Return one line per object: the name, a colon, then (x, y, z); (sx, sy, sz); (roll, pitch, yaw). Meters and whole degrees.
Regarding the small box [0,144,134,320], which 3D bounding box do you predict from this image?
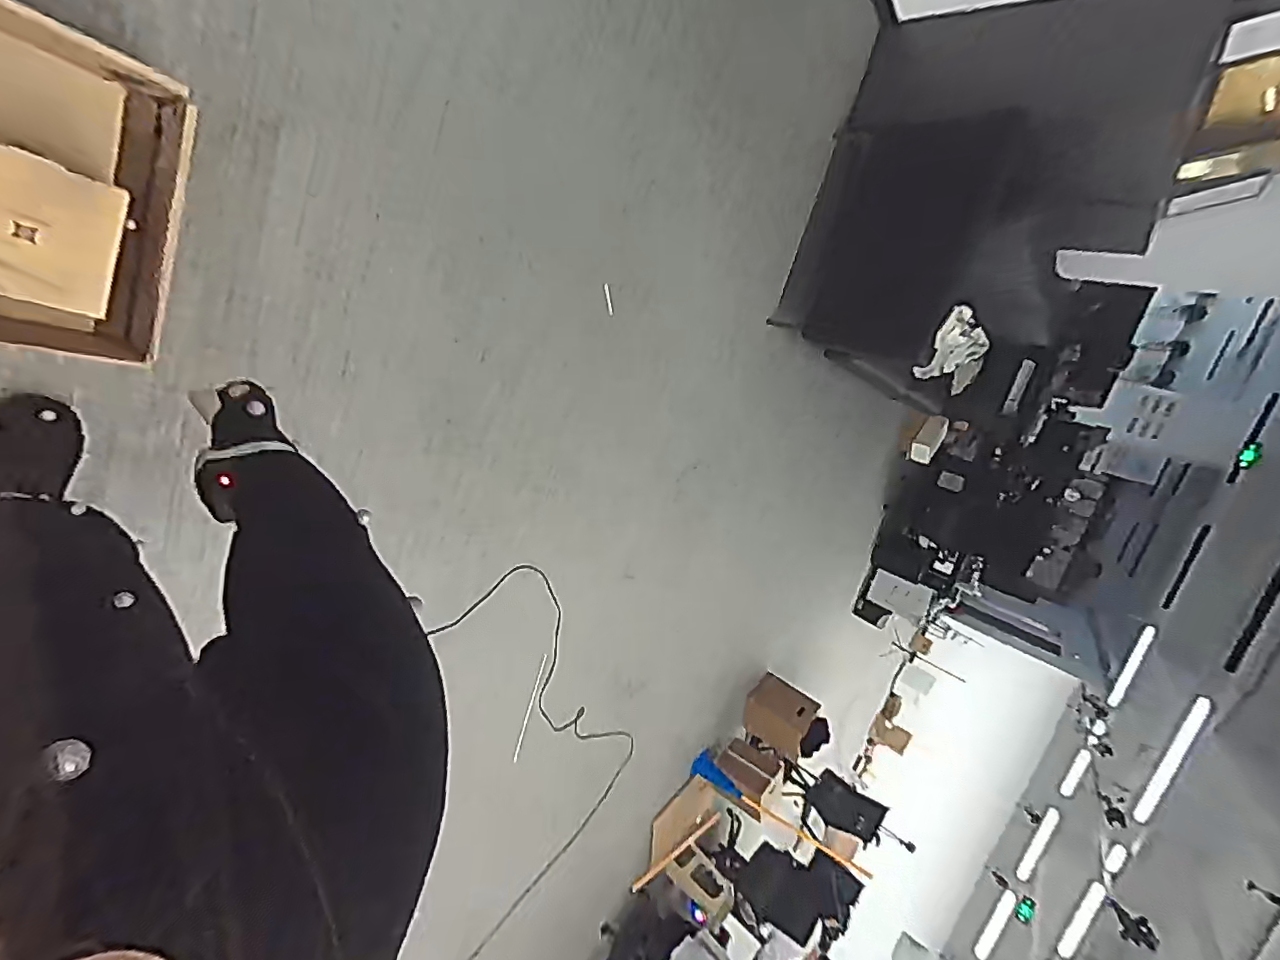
small box: (-0.813, -0.337, 0.721); (0.168, 0.176, 0.179); (9, 103, -52)
